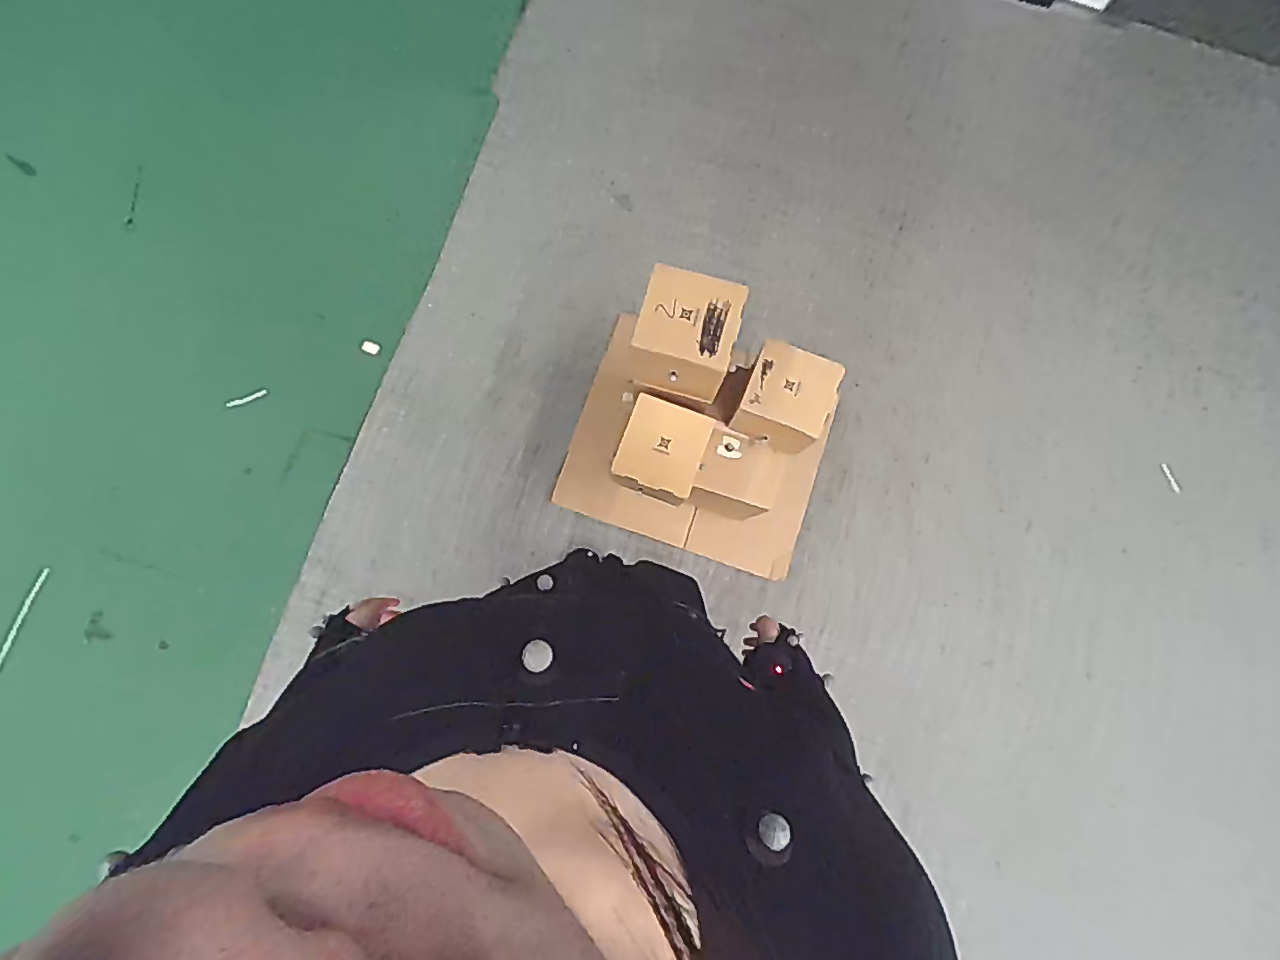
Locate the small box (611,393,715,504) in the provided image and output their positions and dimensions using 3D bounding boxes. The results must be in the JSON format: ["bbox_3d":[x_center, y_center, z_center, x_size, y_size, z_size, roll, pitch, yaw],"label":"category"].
[{"bbox_3d":[0.043,-0.059,1.151,0.168,0.176,0.179,20,83,1],"label":"small box"}]

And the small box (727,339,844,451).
[{"bbox_3d":[0.306,-0.173,1.175,0.179,0.176,0.168,23,82,4],"label":"small box"}]
